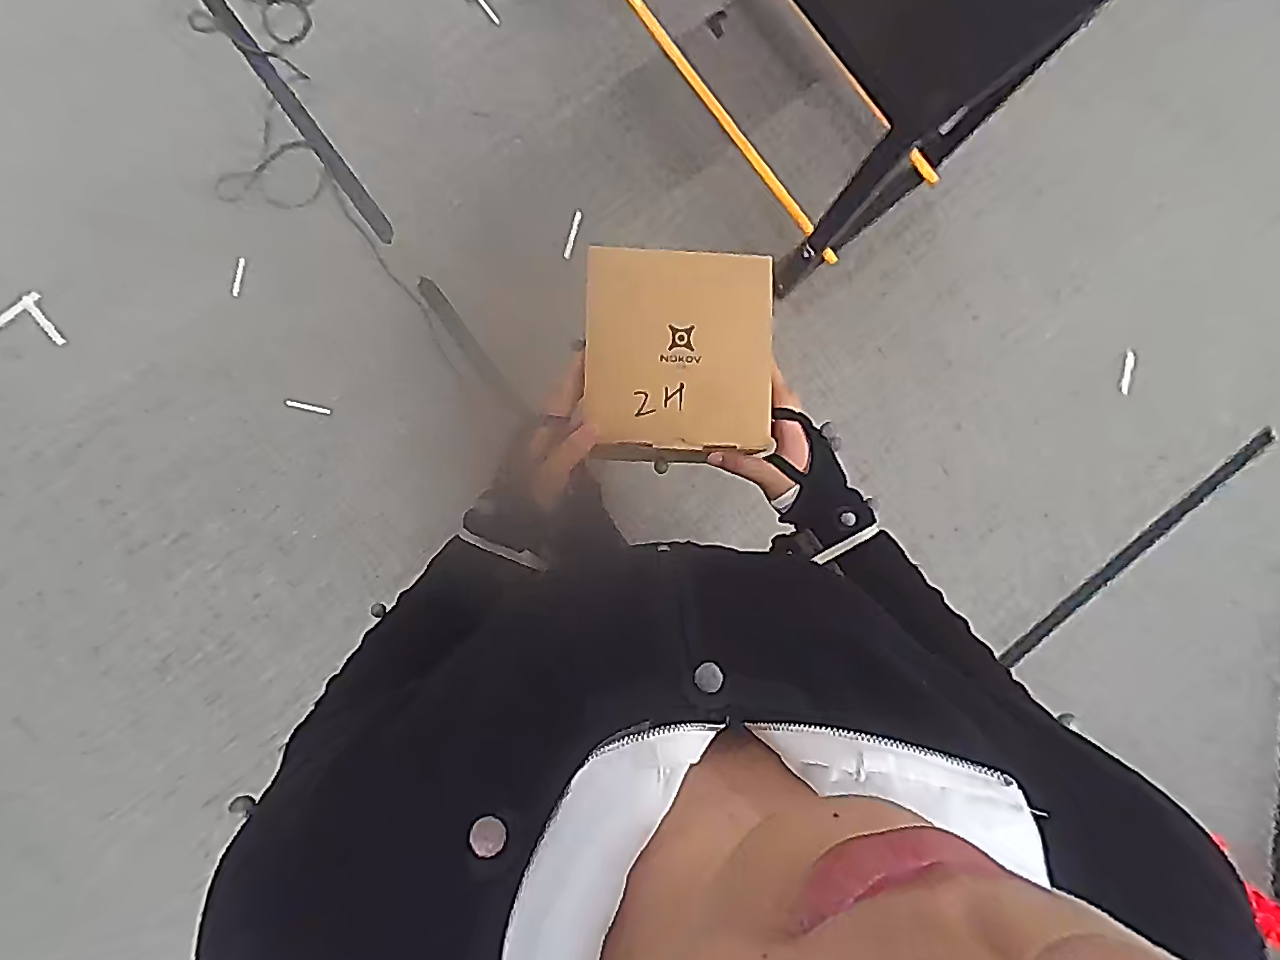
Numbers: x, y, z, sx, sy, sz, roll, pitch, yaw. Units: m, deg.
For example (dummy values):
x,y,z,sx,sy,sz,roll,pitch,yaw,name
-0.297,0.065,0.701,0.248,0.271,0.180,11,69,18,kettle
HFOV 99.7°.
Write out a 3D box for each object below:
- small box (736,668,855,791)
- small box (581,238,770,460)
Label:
x,y,z,sx,sy,sz,roll,pitch,yaw,name
0.349,0.563,1.255,0.179,0.176,0.168,45,86,0,small box
0.026,-0.117,0.549,0.168,0.176,0.179,1,87,-4,small box
